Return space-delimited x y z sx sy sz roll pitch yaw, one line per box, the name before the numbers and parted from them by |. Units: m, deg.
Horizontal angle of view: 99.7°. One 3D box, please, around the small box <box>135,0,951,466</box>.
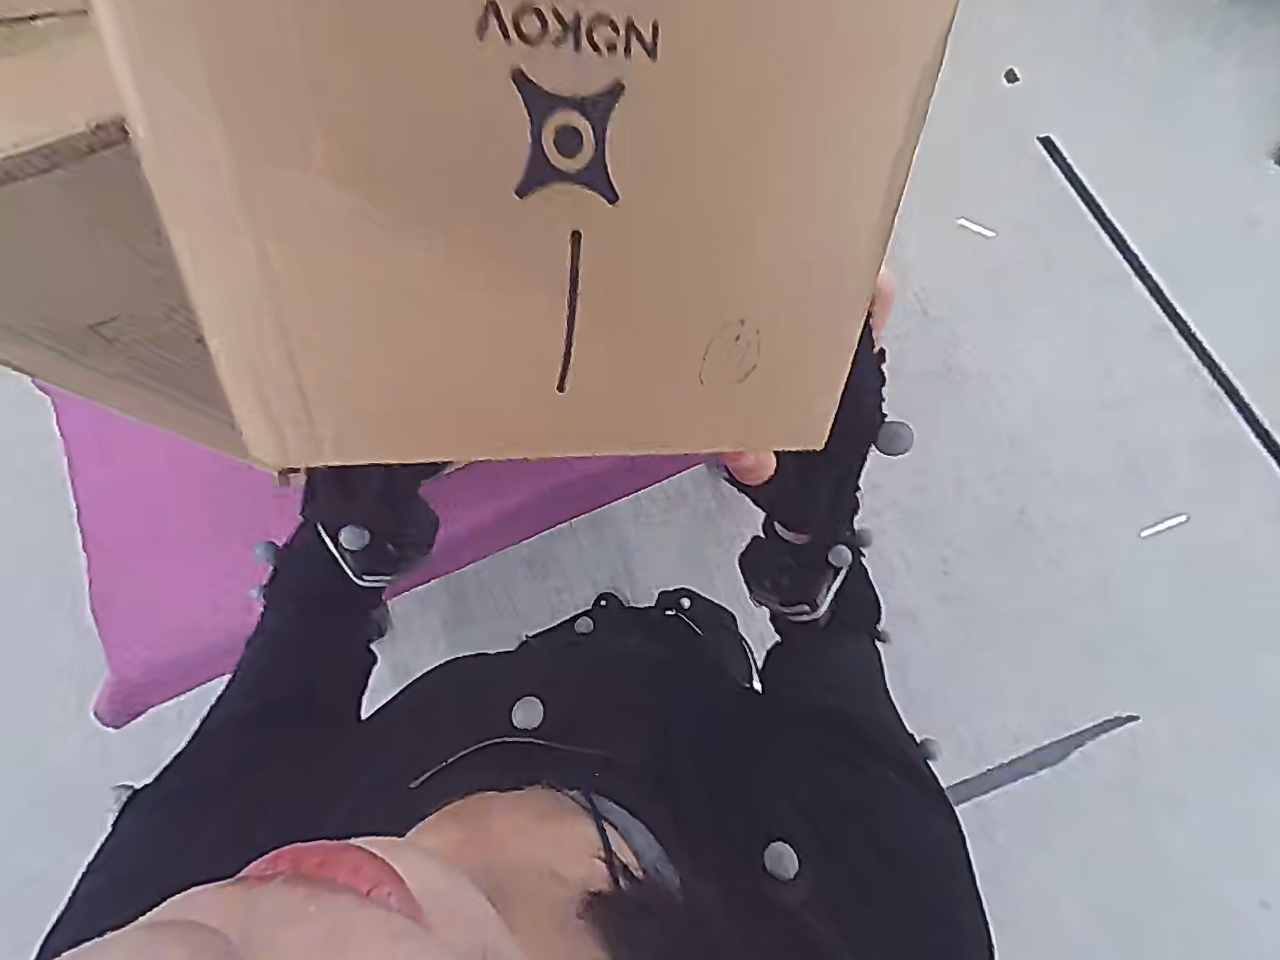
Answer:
small box | -0.029 -0.120 0.188 0.168 0.176 0.179 -1 120 -12
